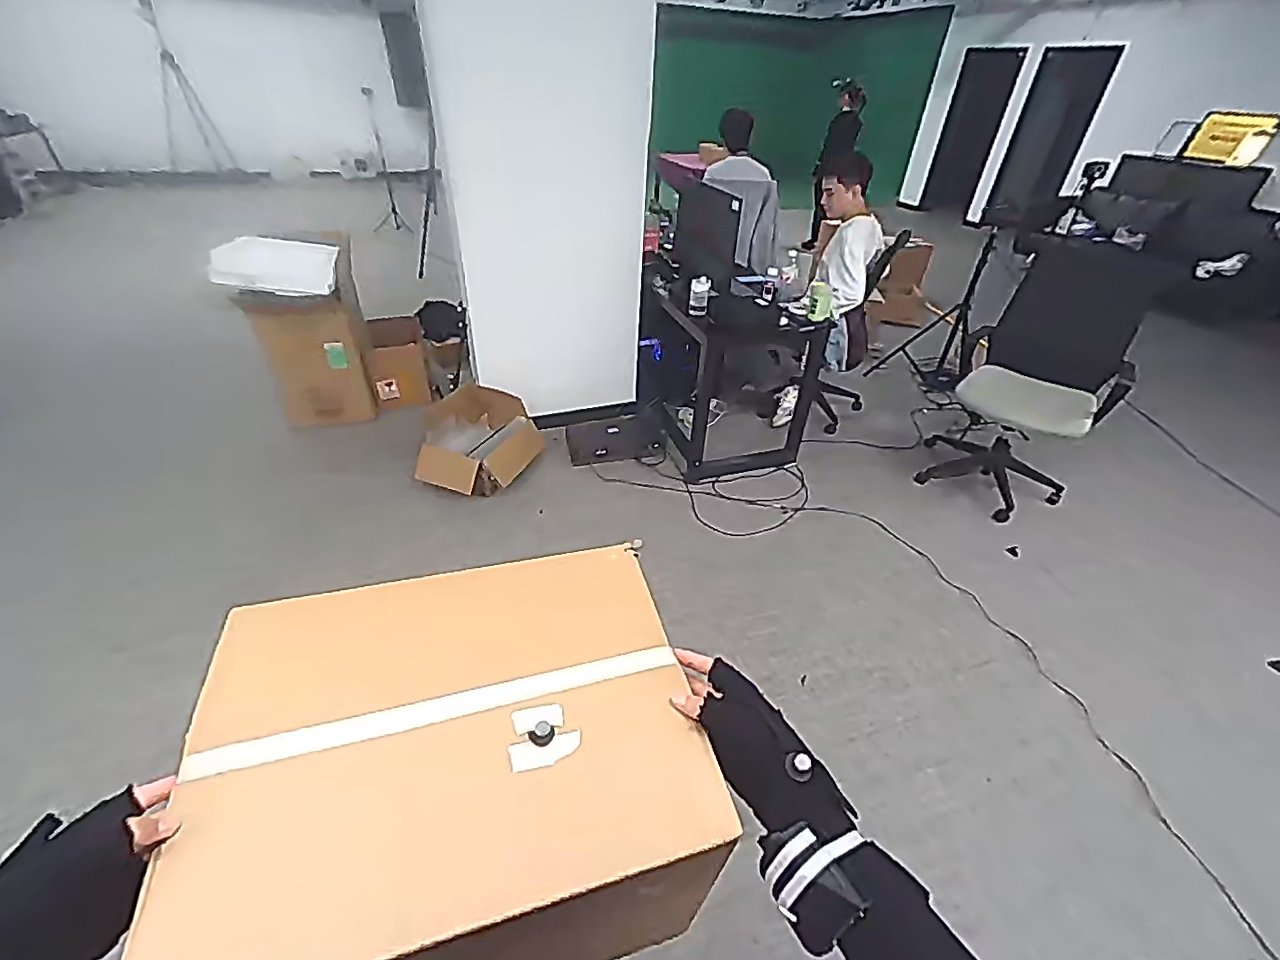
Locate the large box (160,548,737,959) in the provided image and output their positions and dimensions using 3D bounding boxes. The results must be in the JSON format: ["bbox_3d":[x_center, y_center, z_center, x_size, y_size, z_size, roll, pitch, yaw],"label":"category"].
[{"bbox_3d":[-0.166,0.316,0.578,0.408,0.320,0.320,-7,42,-16],"label":"large box"}]
